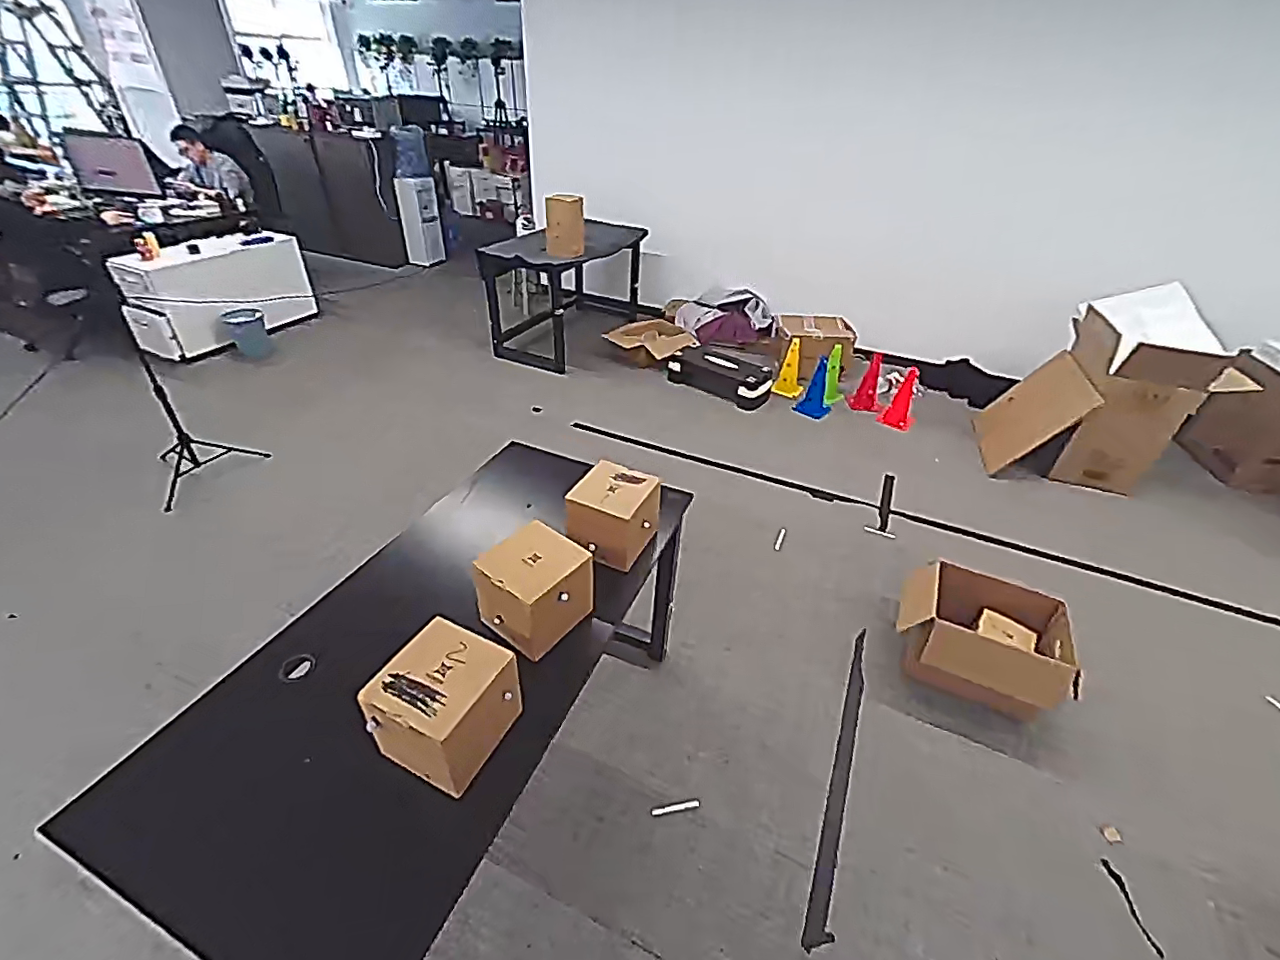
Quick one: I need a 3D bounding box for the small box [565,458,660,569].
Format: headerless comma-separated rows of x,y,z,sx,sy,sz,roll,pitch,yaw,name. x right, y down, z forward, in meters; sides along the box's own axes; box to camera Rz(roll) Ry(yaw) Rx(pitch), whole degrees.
-0.066,0.078,1.297,0.168,0.176,0.179,17,40,20,small box

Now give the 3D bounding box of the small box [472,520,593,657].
-0.213,0.219,1.104,0.168,0.176,0.179,25,43,28,small box
